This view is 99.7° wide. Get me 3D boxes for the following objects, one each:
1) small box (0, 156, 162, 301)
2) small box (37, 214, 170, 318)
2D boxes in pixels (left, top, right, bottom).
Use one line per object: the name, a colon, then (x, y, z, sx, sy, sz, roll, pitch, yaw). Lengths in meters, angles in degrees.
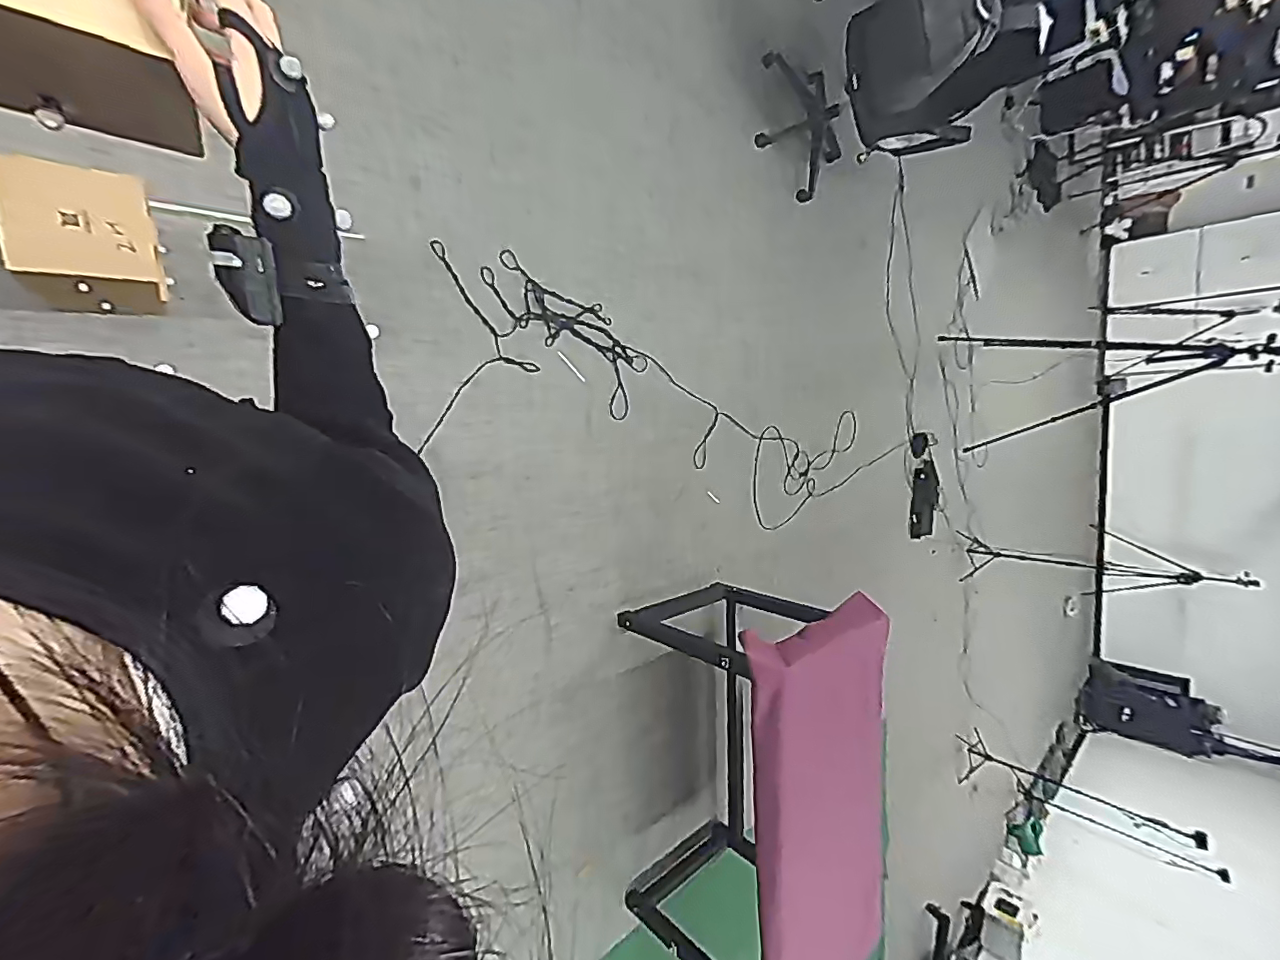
small box: (-0.918, -0.400, 0.894, 0.179, 0.176, 0.168, -9, 100, -40)
small box: (-1.018, -0.409, 1.025, 0.179, 0.176, 0.168, -9, 99, -41)
